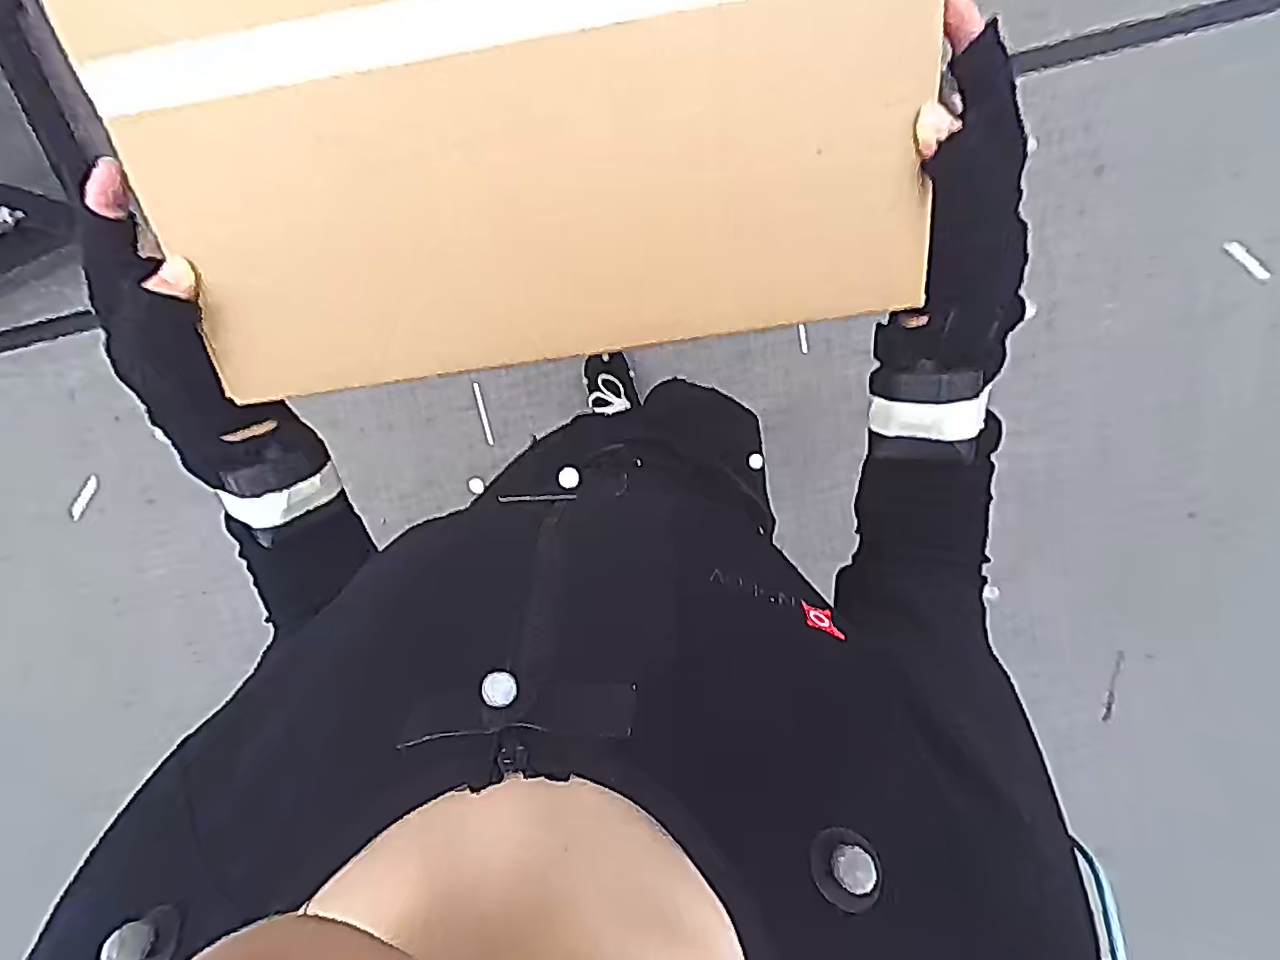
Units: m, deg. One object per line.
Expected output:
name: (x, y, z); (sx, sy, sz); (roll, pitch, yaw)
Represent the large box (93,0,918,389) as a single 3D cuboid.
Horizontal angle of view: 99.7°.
large box: (-0.065, -0.278, 0.402); (0.408, 0.320, 0.320); (-8, 113, 3)
